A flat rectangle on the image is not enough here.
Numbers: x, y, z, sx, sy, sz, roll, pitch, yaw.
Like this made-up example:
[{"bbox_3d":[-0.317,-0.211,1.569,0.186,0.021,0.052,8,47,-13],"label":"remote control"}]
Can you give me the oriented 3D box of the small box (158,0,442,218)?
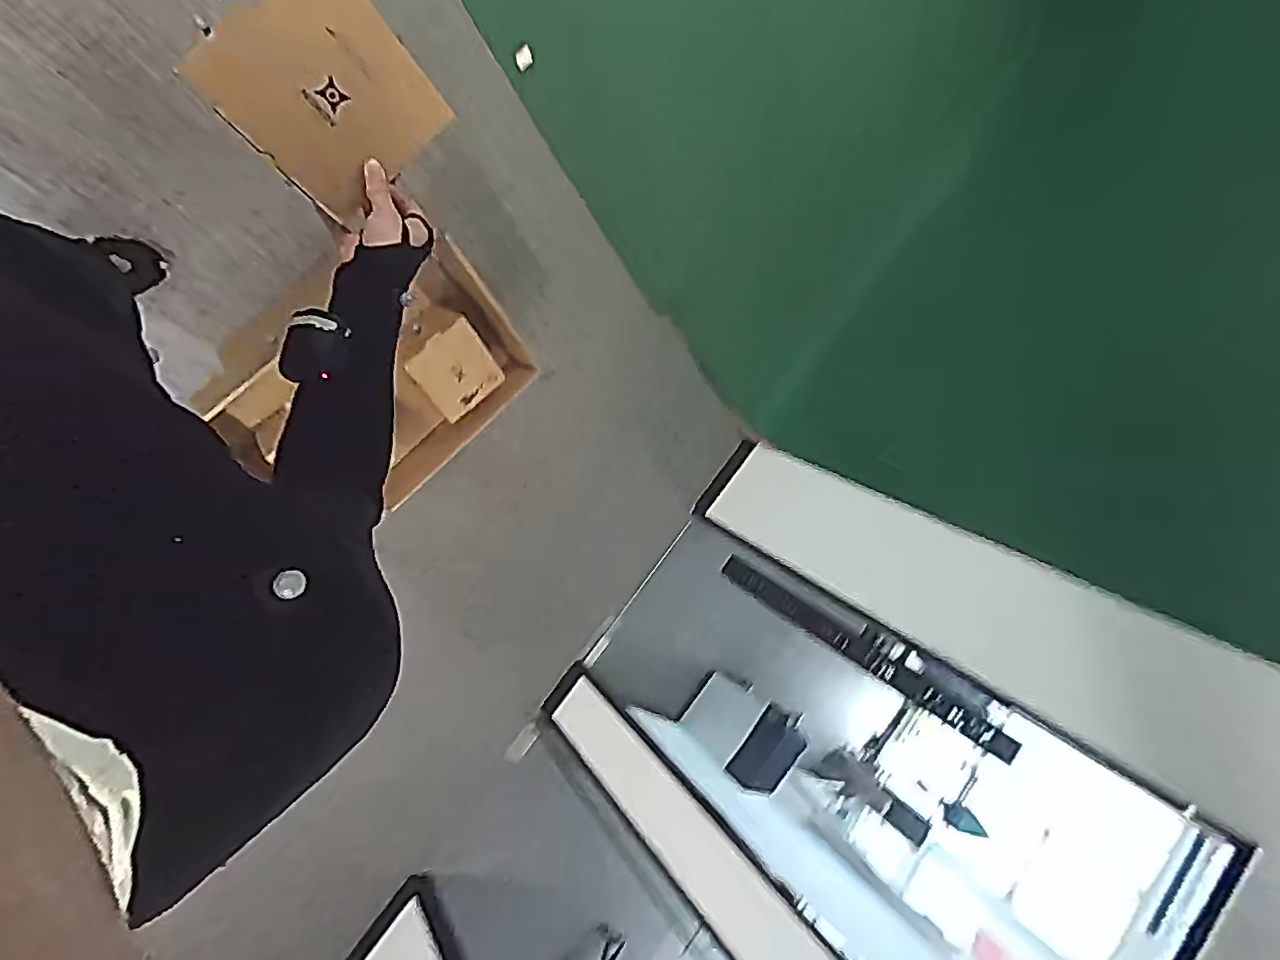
[{"bbox_3d":[-0.343,-0.418,0.563,0.179,0.176,0.168,-42,139,3],"label":"small box"}]
